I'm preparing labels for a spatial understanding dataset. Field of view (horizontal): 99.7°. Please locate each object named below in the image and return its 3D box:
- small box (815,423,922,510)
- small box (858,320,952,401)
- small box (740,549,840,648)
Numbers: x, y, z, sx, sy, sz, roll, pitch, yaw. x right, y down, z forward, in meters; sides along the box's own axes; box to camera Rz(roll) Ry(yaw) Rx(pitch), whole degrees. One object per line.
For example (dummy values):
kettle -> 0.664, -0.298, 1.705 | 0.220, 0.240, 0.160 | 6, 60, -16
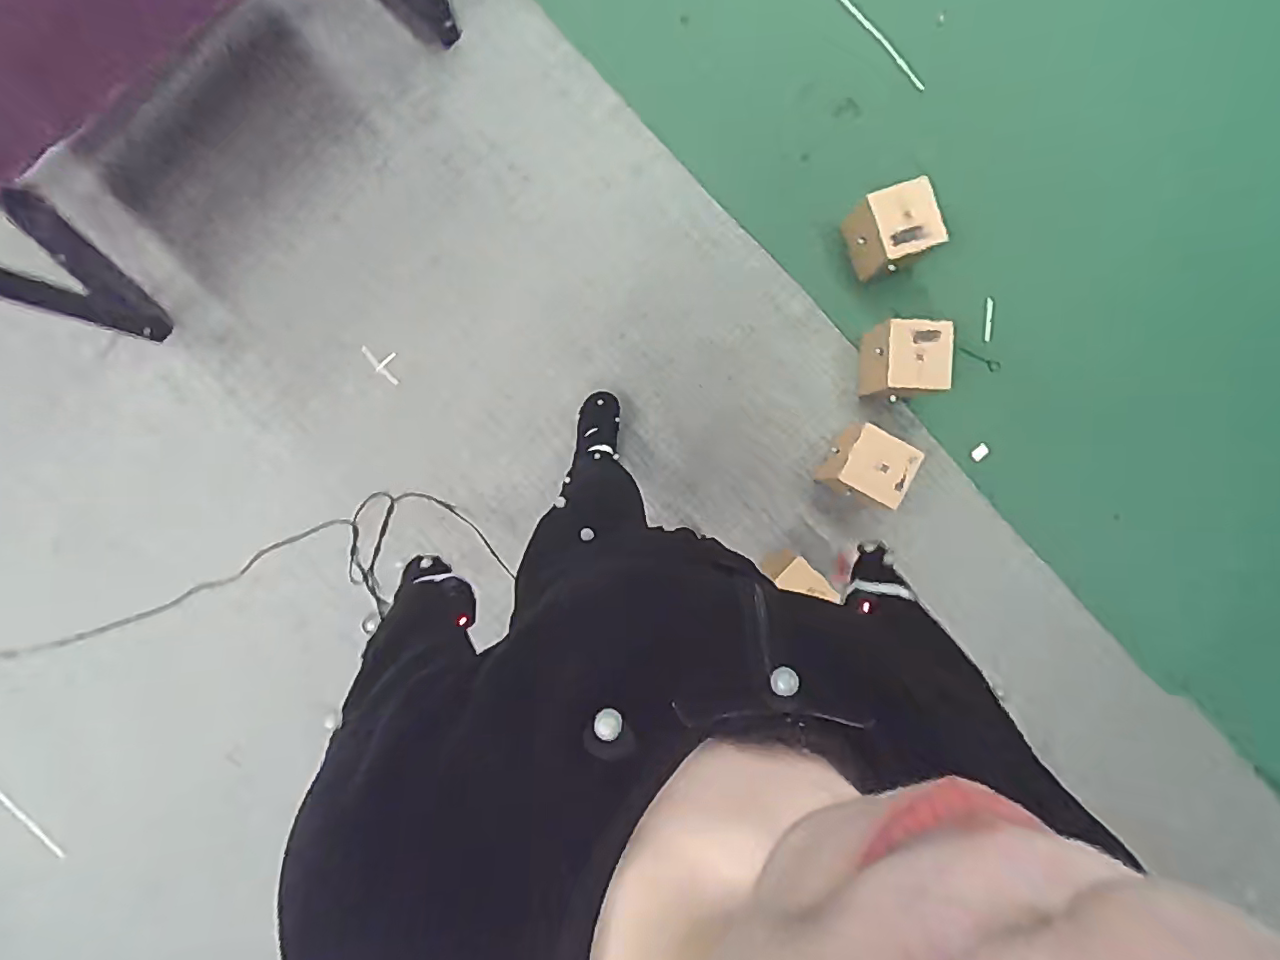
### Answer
small box -> 0.598, -0.032, 1.441 | 0.179, 0.176, 0.168 | 29, 89, -2
small box -> 0.700, -0.313, 1.444 | 0.168, 0.176, 0.179 | 2, 91, -3
small box -> 0.385, 0.305, 1.433 | 0.179, 0.176, 0.168 | -45, 92, -1
